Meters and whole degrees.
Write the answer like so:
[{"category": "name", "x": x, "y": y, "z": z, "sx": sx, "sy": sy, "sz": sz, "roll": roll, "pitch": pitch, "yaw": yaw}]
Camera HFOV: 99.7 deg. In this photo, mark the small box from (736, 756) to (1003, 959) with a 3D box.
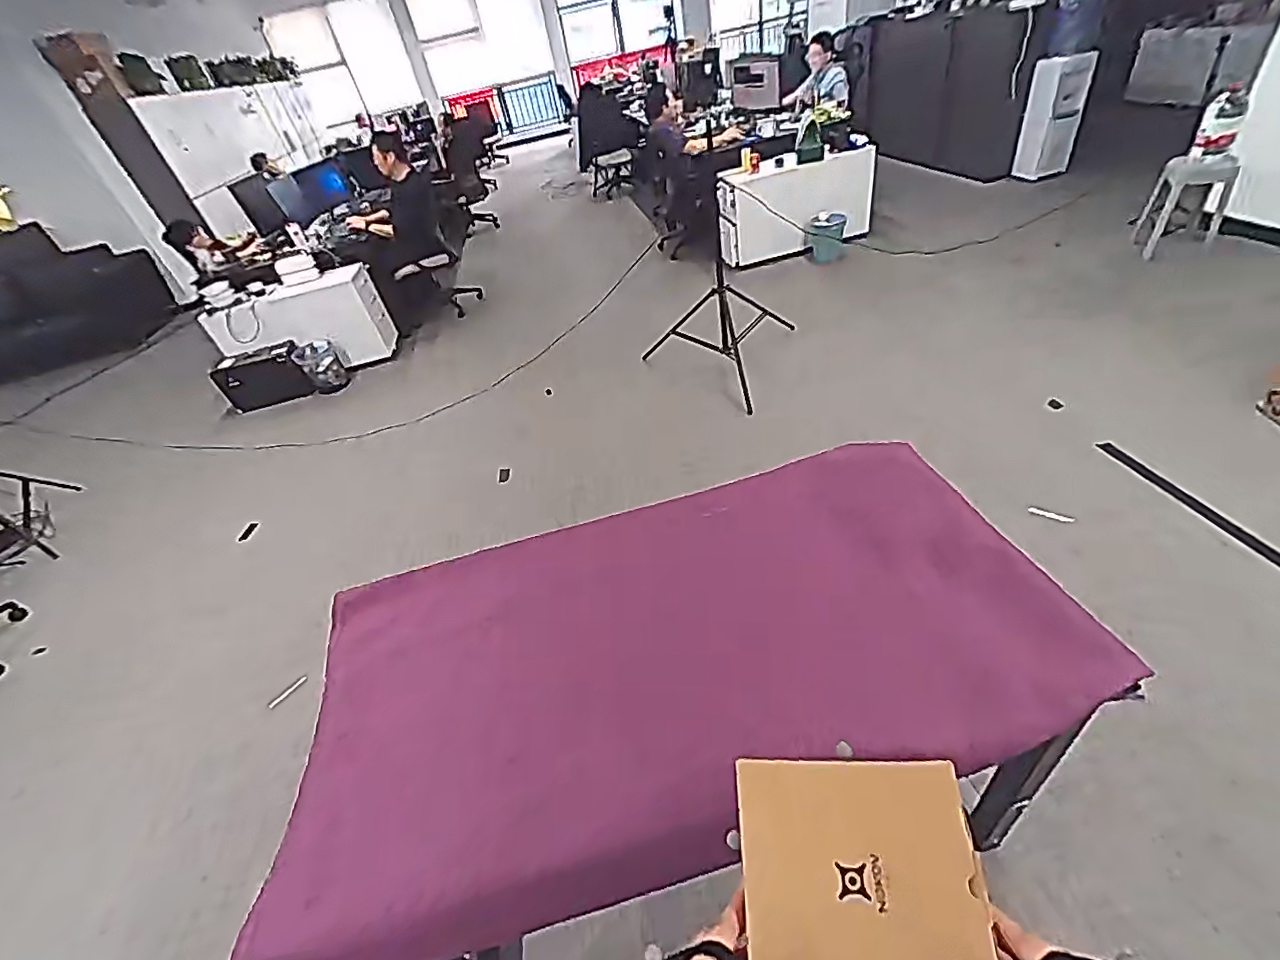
[{"category": "small box", "x": 0.181, "y": 0.345, "z": 0.474, "sx": 0.179, "sy": 0.176, "sz": 0.168, "roll": -4, "pitch": 57, "yaw": 9}]
